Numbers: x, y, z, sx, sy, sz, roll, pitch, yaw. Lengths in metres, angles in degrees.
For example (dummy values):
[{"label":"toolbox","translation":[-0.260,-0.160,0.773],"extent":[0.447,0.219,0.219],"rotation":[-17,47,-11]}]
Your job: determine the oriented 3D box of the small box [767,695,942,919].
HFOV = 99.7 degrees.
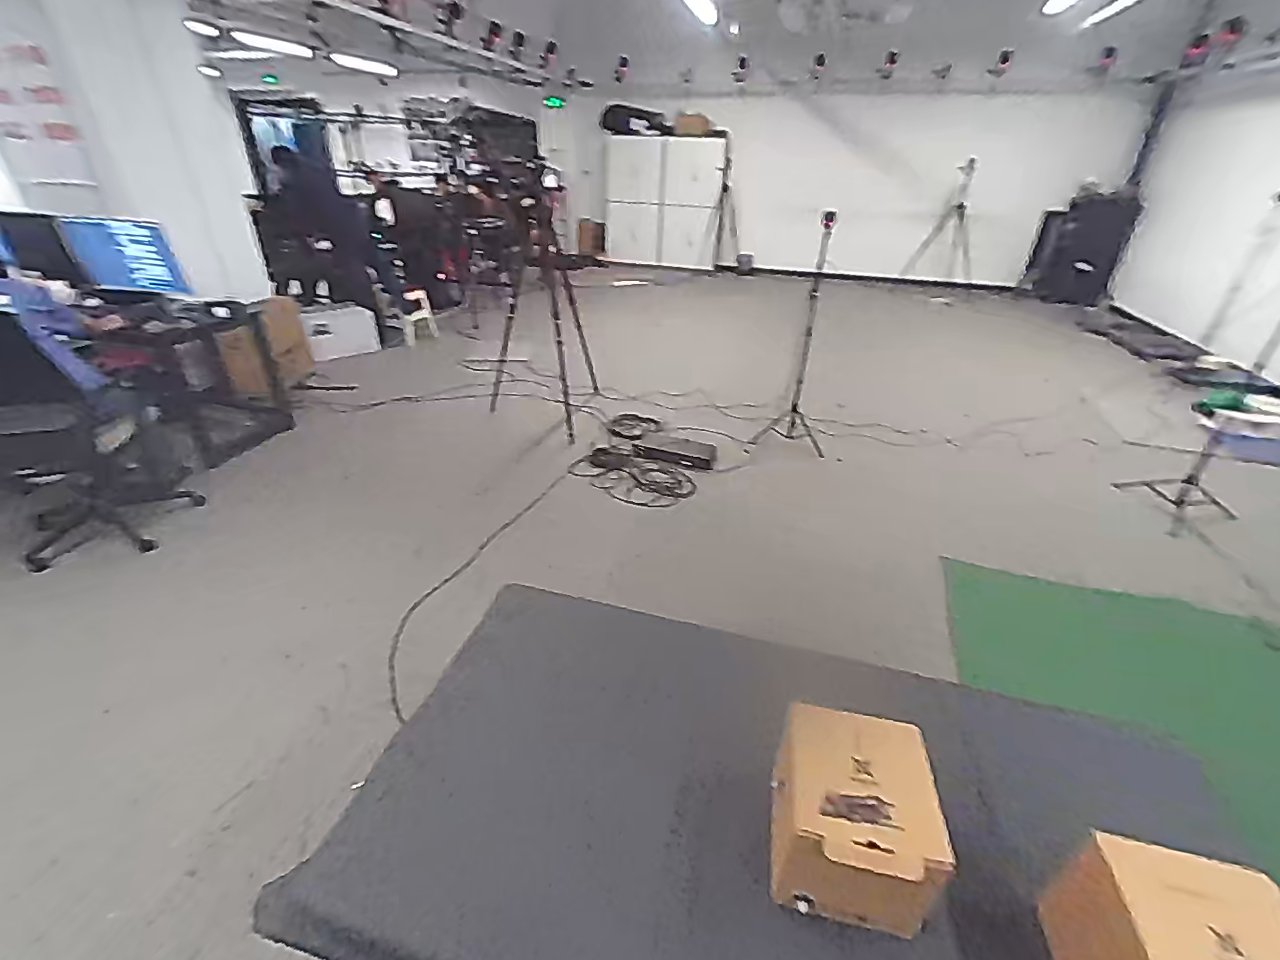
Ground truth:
[{"label":"small box","translation":[0.260,0.418,0.699],"extent":[0.168,0.176,0.179],"rotation":[8,30,10]}]
